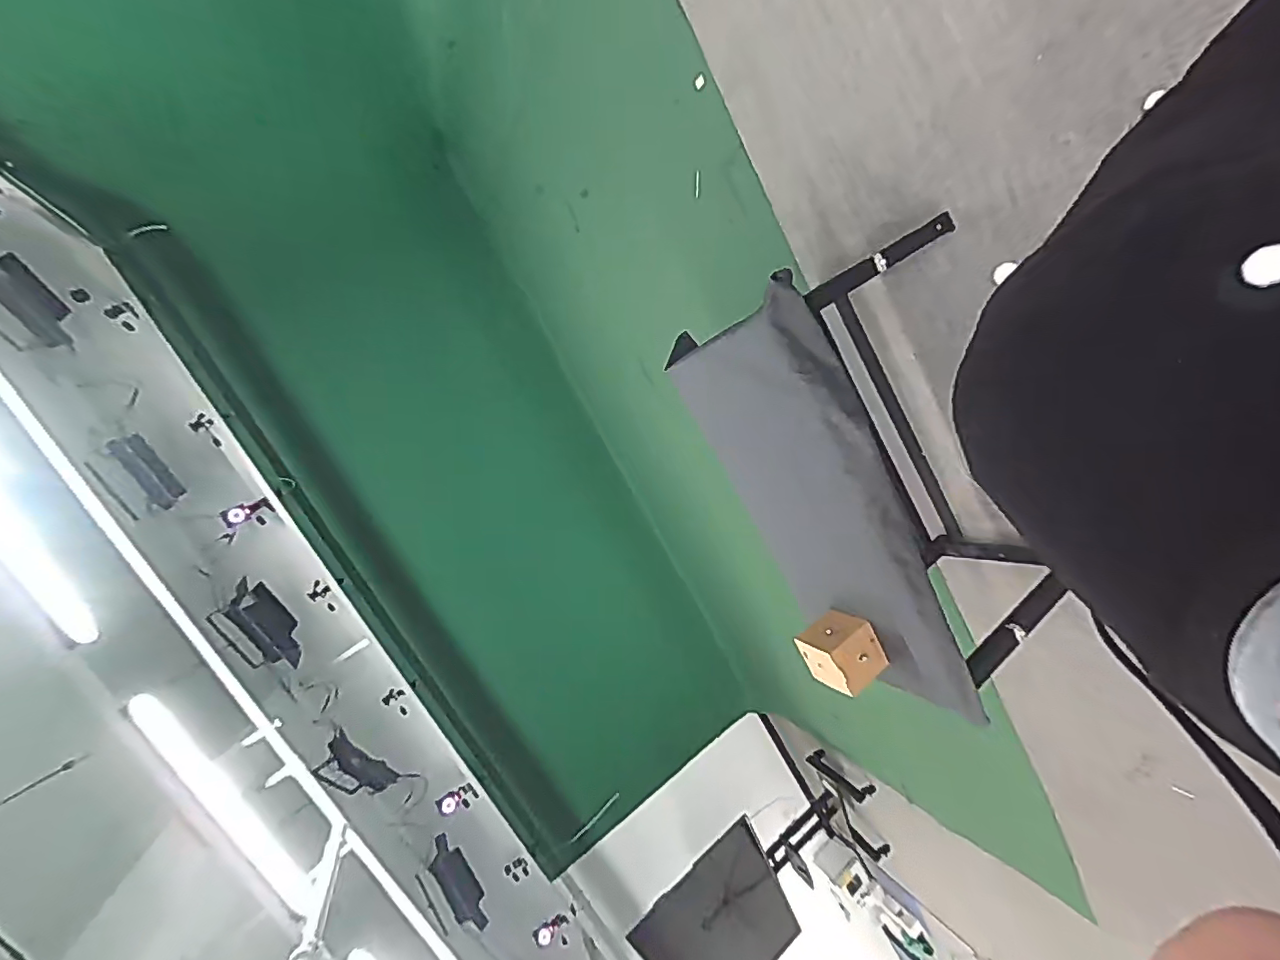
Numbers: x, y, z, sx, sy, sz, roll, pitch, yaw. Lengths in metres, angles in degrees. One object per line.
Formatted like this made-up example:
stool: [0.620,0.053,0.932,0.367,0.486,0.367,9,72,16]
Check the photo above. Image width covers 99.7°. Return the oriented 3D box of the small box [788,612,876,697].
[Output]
small box: [0.605,0.534,1.687,0.168,0.176,0.179,62,160,-11]
